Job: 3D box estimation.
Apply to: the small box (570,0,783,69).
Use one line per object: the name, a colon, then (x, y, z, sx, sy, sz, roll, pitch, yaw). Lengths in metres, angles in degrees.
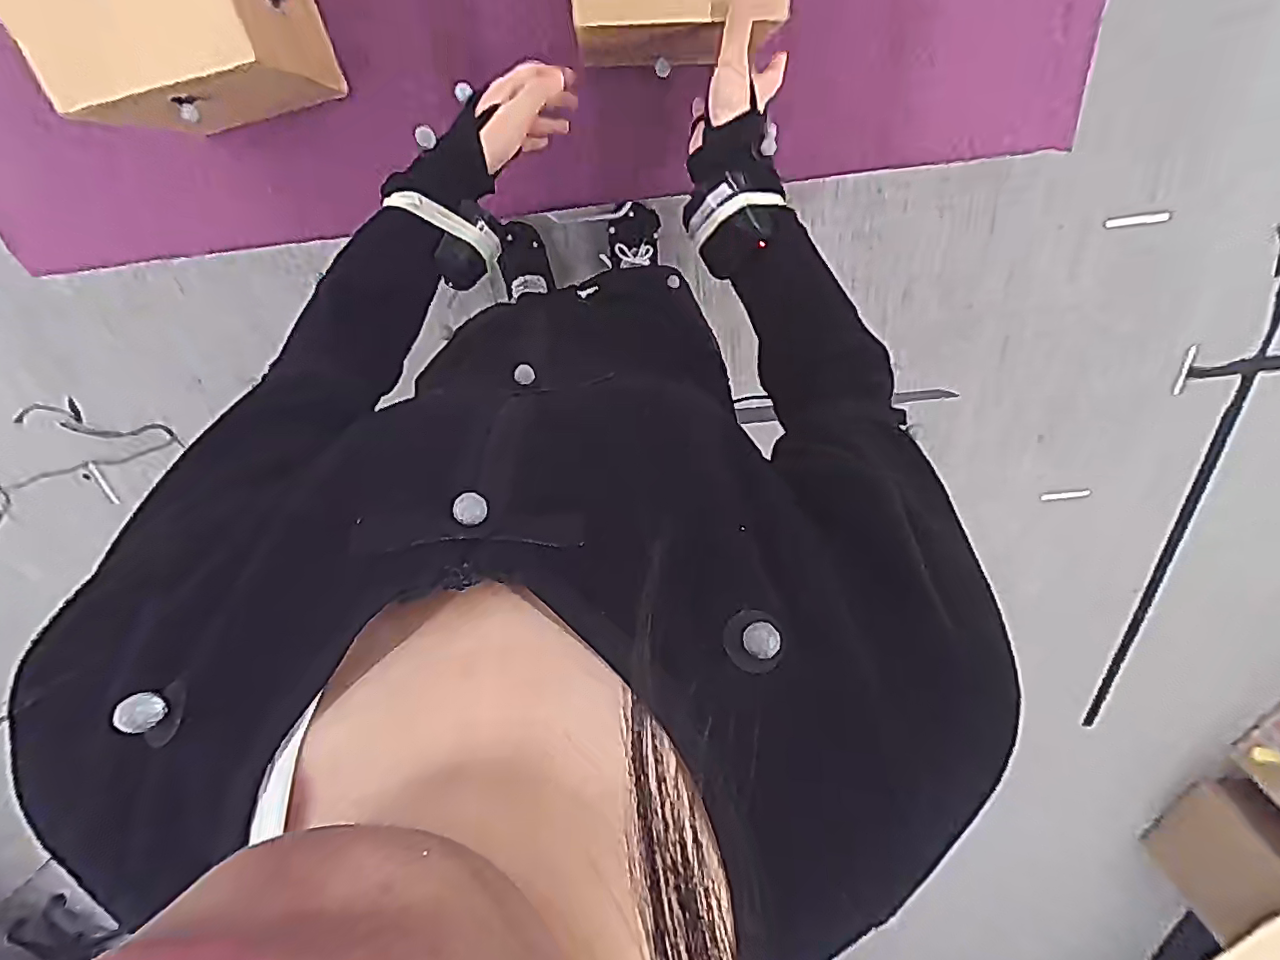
small box: (0.025, -0.463, 0.446, 0.168, 0.176, 0.179, -1, 120, -1)

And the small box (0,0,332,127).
small box: (-0.397, -0.417, 0.458, 0.179, 0.176, 0.168, -11, 119, 4)
